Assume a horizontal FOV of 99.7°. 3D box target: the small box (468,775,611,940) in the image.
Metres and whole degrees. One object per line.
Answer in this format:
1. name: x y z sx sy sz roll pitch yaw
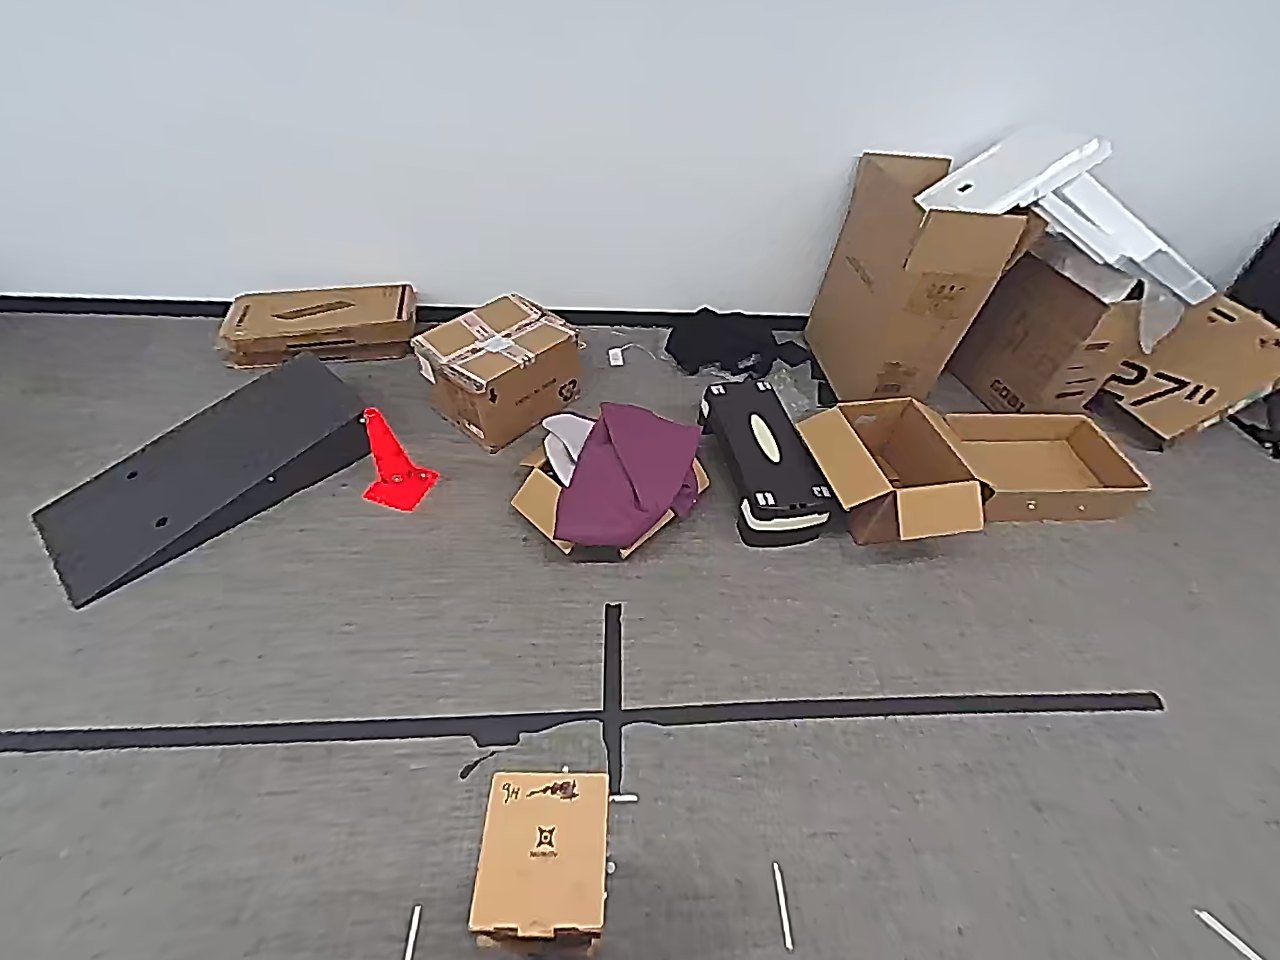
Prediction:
1. small box: -0.127 0.533 0.761 0.168 0.176 0.179 2 48 -2
